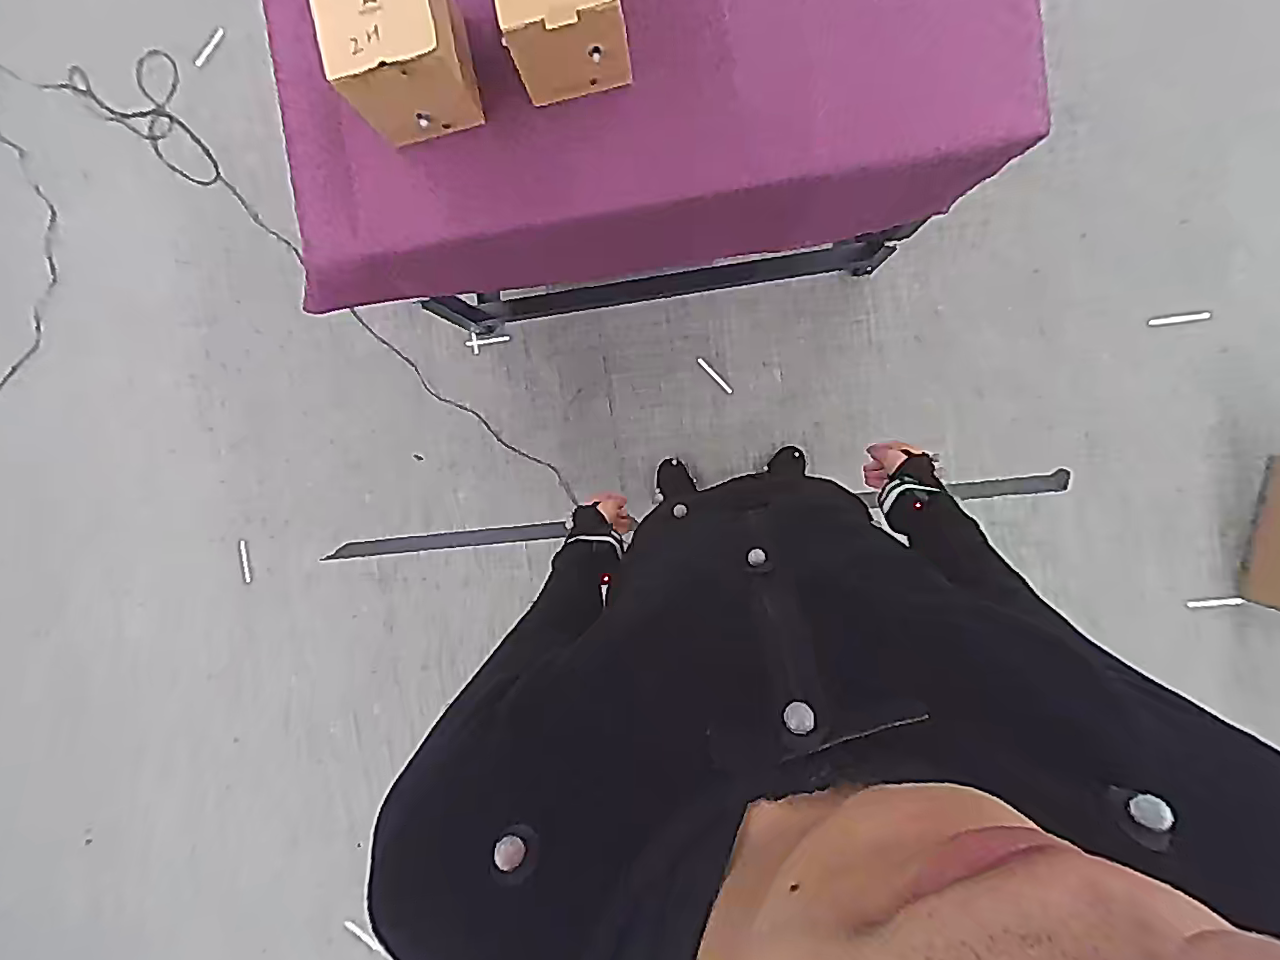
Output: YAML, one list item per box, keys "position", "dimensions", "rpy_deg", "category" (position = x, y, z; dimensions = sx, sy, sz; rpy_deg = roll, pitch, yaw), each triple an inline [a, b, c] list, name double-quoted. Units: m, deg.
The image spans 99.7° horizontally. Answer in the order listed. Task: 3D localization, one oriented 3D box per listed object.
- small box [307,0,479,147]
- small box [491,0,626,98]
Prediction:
- position: [-0.364, -0.649, 0.814]
  dimensions: [0.168, 0.176, 0.179]
  rpy_deg: [-11, 93, 6]
  category: "small box"
- position: [-0.120, -0.701, 0.793]
  dimensions: [0.168, 0.176, 0.179]
  rpy_deg: [-10, 92, 5]
  category: "small box"
